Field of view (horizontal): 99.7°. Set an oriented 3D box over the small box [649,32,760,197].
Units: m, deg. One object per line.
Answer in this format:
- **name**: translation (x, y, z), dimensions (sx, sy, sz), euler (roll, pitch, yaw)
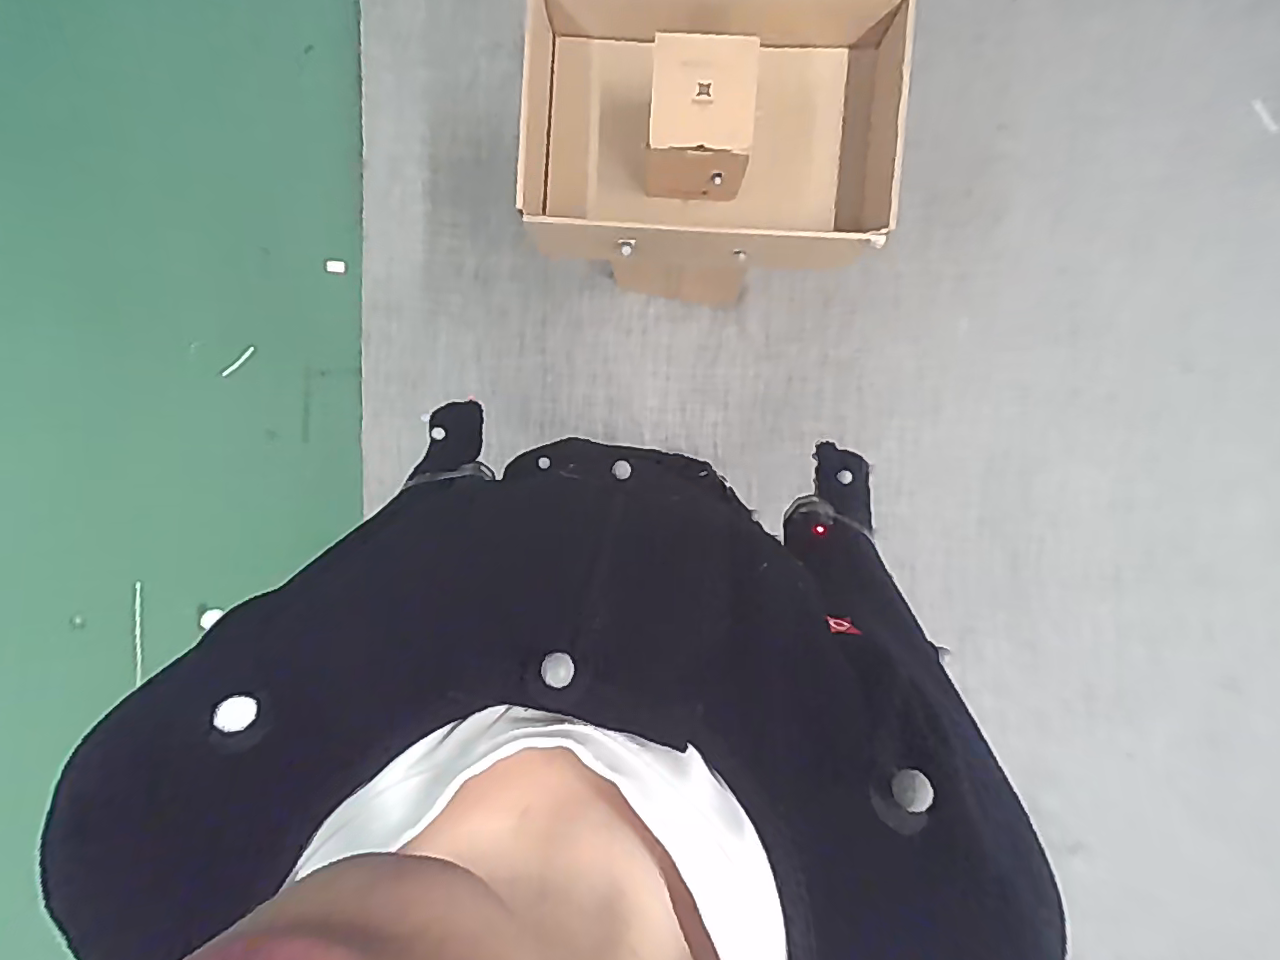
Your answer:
- **small box**: translation (0.102, -0.610, 0.924), dimensions (0.168, 0.176, 0.179), euler (3, 91, 0)
